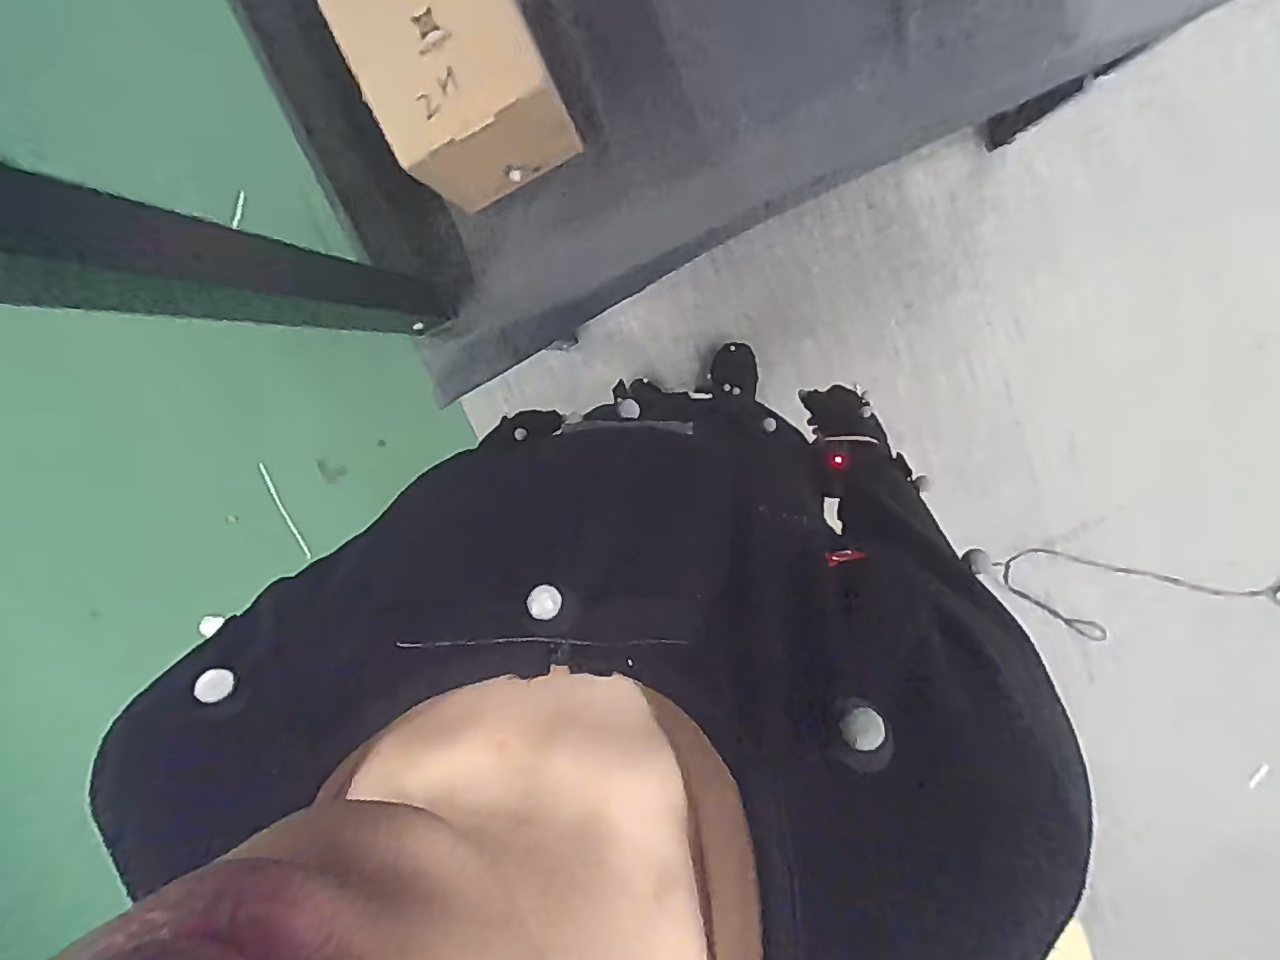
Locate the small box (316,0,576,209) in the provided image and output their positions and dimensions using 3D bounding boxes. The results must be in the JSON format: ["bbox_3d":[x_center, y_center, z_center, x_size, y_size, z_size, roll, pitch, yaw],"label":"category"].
[{"bbox_3d":[-0.189,-0.427,0.576,0.168,0.176,0.179,-24,99,11],"label":"small box"}]
